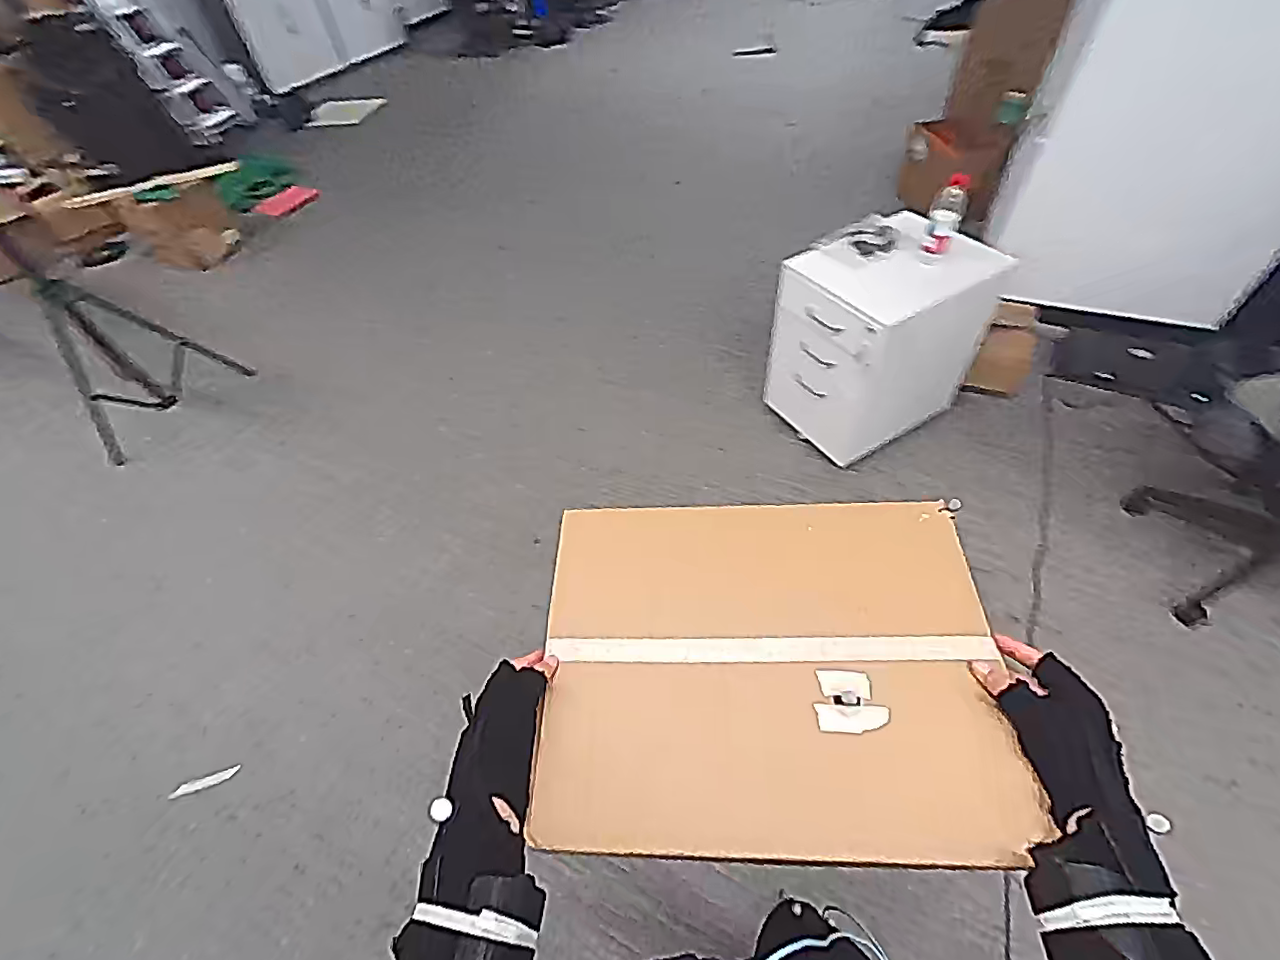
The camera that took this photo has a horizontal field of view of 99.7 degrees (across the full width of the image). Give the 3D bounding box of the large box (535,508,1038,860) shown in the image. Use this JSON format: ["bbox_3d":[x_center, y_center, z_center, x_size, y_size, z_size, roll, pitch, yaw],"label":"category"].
[{"bbox_3d":[0.121,0.252,0.632,0.408,0.320,0.320,-3,55,5],"label":"large box"}]
